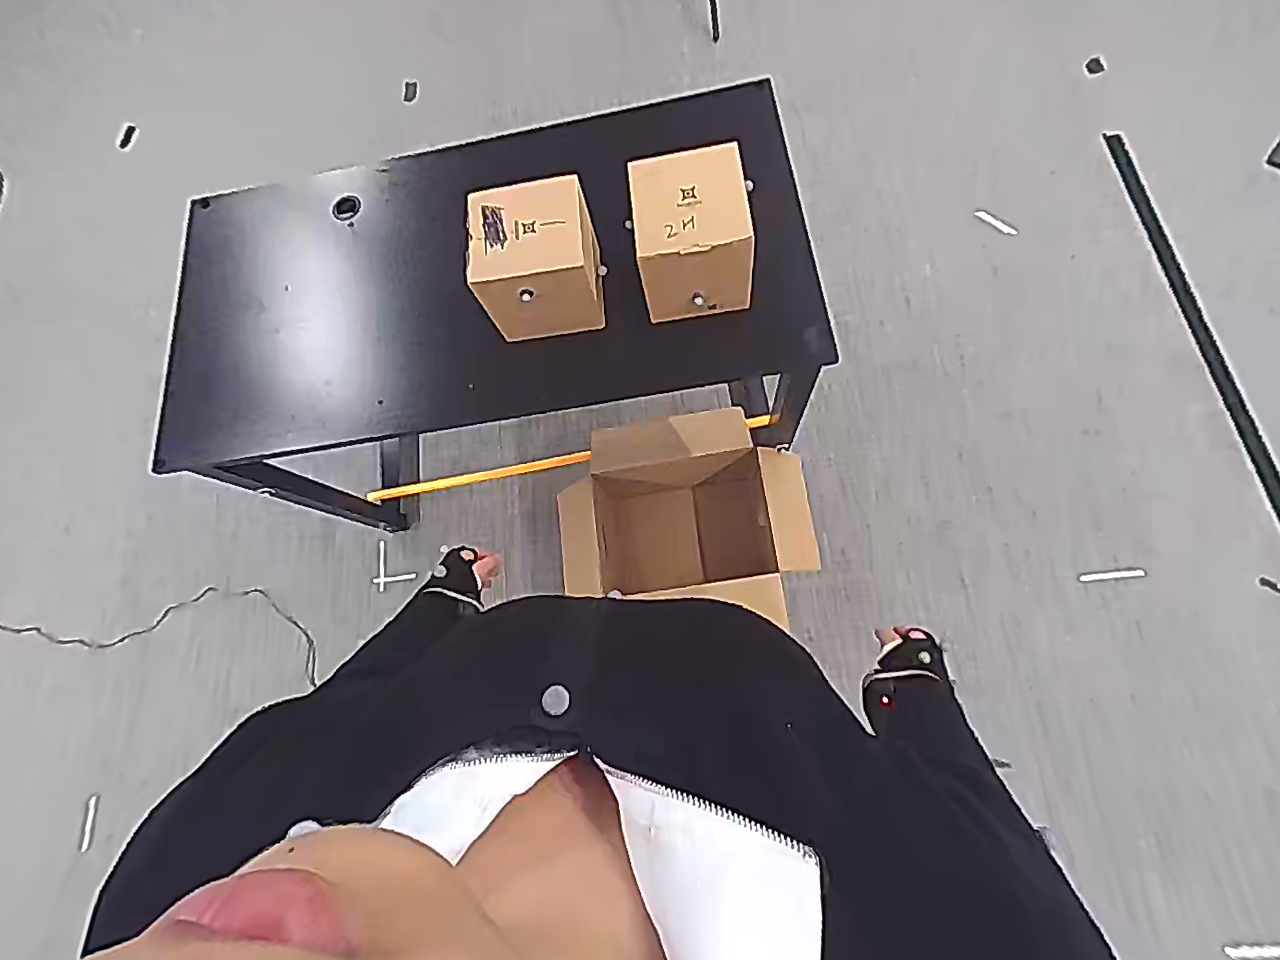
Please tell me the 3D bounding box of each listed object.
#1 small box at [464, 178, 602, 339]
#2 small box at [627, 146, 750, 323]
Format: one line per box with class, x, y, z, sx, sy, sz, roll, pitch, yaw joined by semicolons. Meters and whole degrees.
small box;-0.167;-0.347;0.877;0.179;0.176;0.168;-6;74;5
small box;0.076;-0.376;0.852;0.168;0.176;0.179;-7;73;7
